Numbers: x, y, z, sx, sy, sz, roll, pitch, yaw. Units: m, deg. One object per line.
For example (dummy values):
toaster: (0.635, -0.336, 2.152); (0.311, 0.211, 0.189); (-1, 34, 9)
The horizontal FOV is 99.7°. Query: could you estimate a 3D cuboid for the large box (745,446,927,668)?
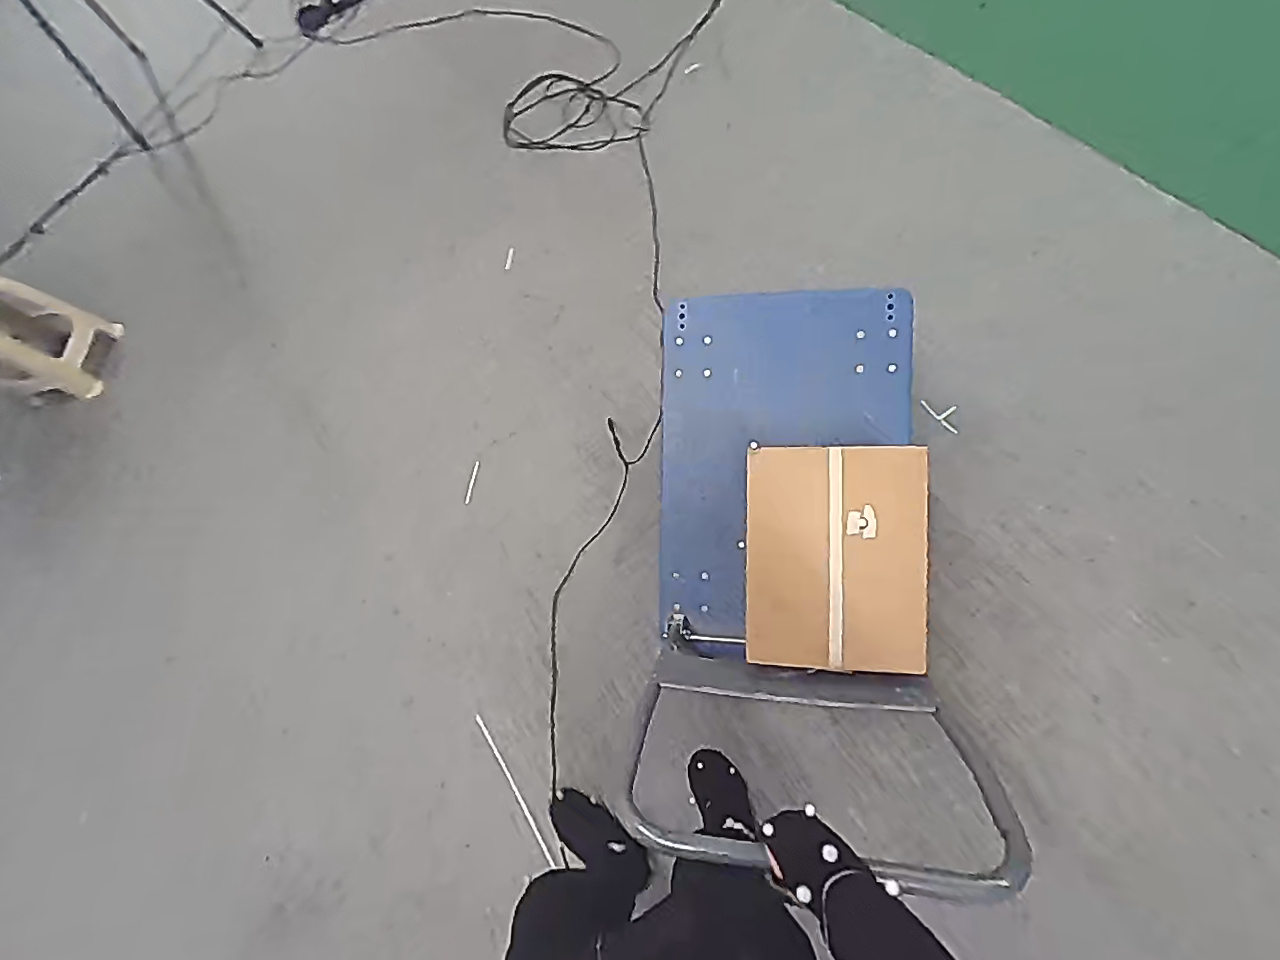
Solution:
large box: (0.386, 0.143, 1.136); (0.320, 0.320, 0.408); (0, 89, 11)
